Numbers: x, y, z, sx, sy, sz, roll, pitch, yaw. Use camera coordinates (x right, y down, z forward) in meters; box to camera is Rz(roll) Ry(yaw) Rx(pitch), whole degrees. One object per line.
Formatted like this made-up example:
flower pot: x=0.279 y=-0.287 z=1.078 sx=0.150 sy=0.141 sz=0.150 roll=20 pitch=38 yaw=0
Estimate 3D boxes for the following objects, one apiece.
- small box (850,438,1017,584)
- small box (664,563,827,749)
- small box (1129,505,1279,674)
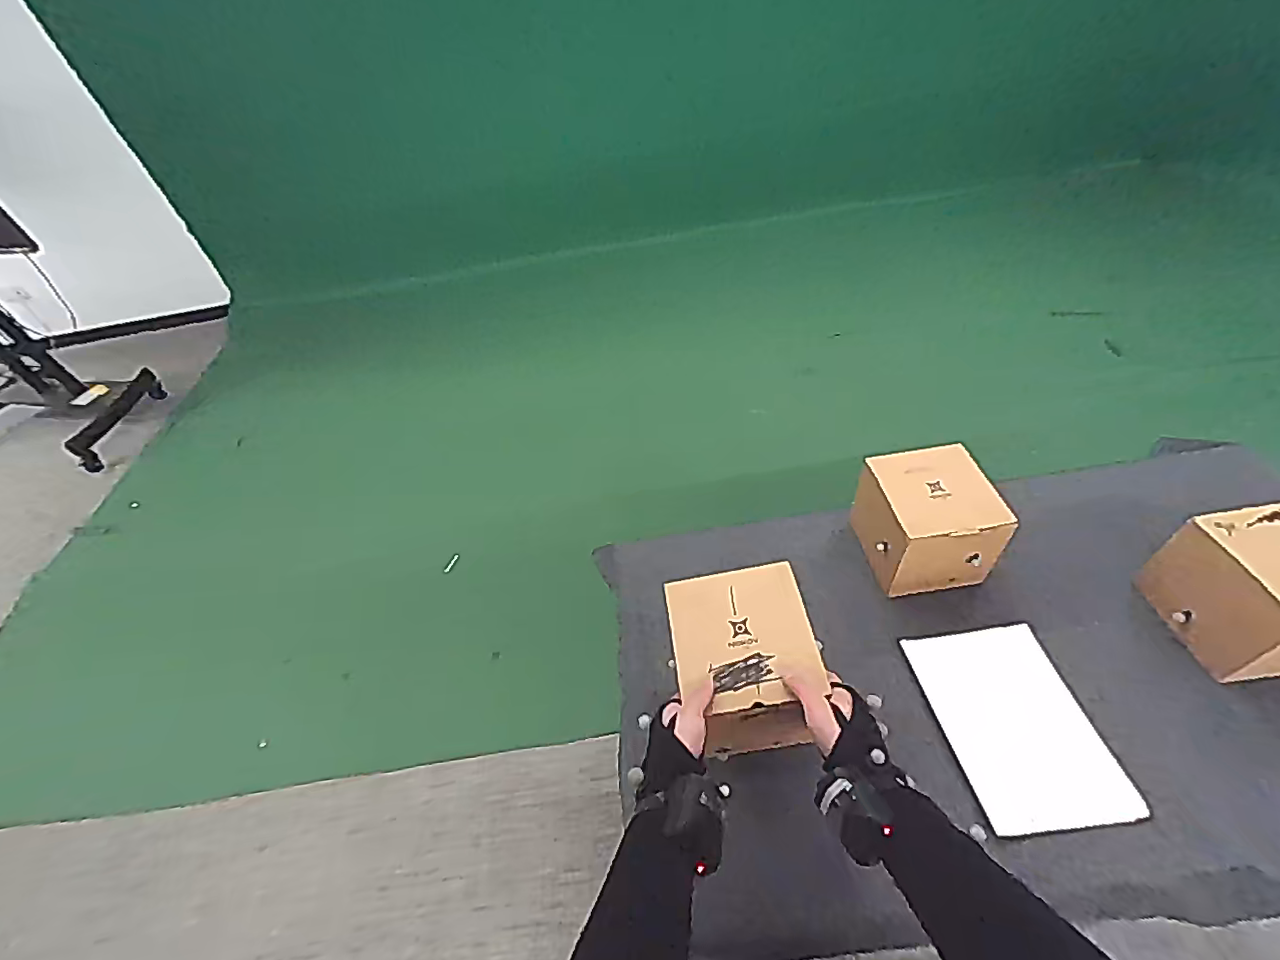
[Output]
small box: x=0.471 y=0.059 z=0.901 sx=0.168 sy=0.176 sz=0.179 roll=-9 pitch=47 yaw=0
small box: x=0.133 y=0.236 z=0.705 sx=0.168 sy=0.176 sz=0.179 roll=-11 pitch=49 yaw=4
small box: x=0.868 y=0.159 z=0.763 sx=0.168 sy=0.176 sz=0.179 roll=-9 pitch=48 yaw=1
